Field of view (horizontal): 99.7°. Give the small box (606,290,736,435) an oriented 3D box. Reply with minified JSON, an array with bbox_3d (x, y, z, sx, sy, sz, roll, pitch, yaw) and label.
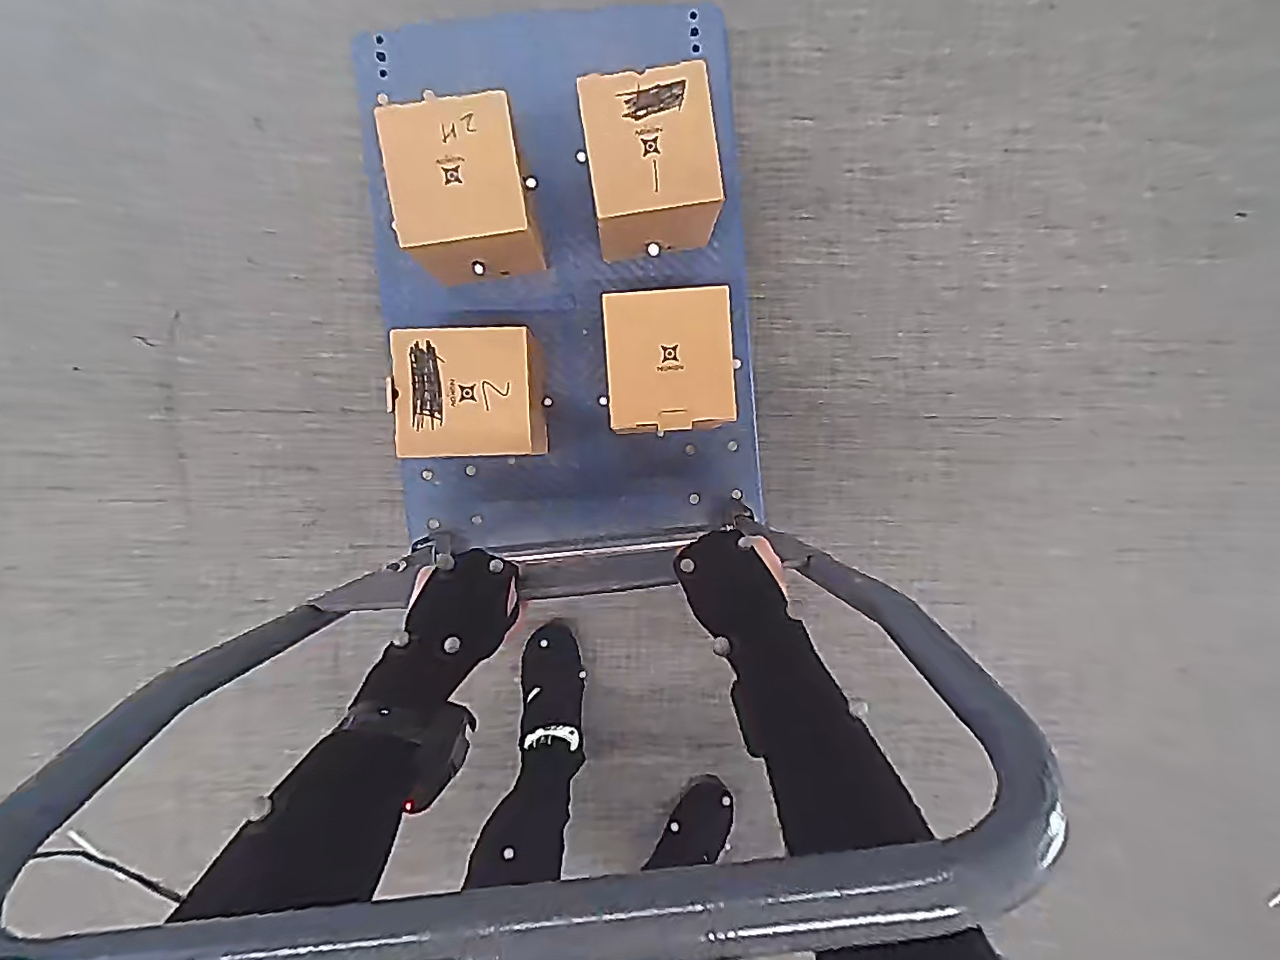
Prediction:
[{"bbox_3d":[0.037,-0.159,0.778,0.168,0.176,0.179,-4,94,-1],"label":"small box"}]

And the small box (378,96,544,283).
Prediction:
[{"bbox_3d":[-0.235,-0.388,0.756,0.168,0.176,0.179,-9,93,-2],"label":"small box"}]

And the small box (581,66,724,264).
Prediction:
[{"bbox_3d":[0.013,-0.428,0.760,0.168,0.176,0.179,-8,95,0],"label":"small box"}]
